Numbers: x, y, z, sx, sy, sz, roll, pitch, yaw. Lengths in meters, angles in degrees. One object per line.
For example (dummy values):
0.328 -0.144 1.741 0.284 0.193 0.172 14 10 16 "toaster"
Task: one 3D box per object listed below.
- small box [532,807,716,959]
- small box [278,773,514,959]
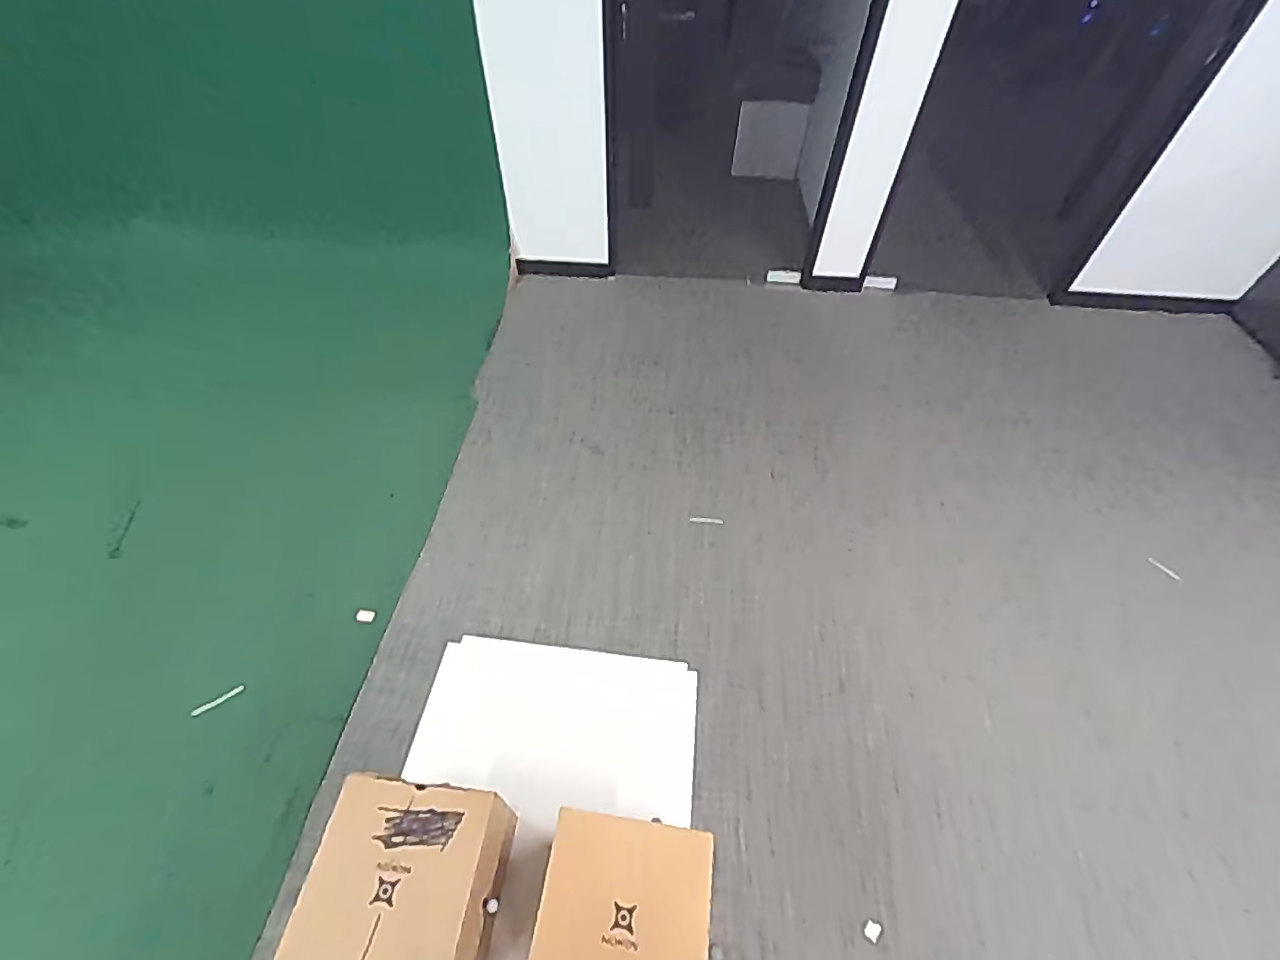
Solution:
-0.015 0.476 0.577 0.168 0.176 0.179 7 51 5 "small box"
-0.245 0.447 0.595 0.168 0.176 0.179 6 51 3 "small box"
